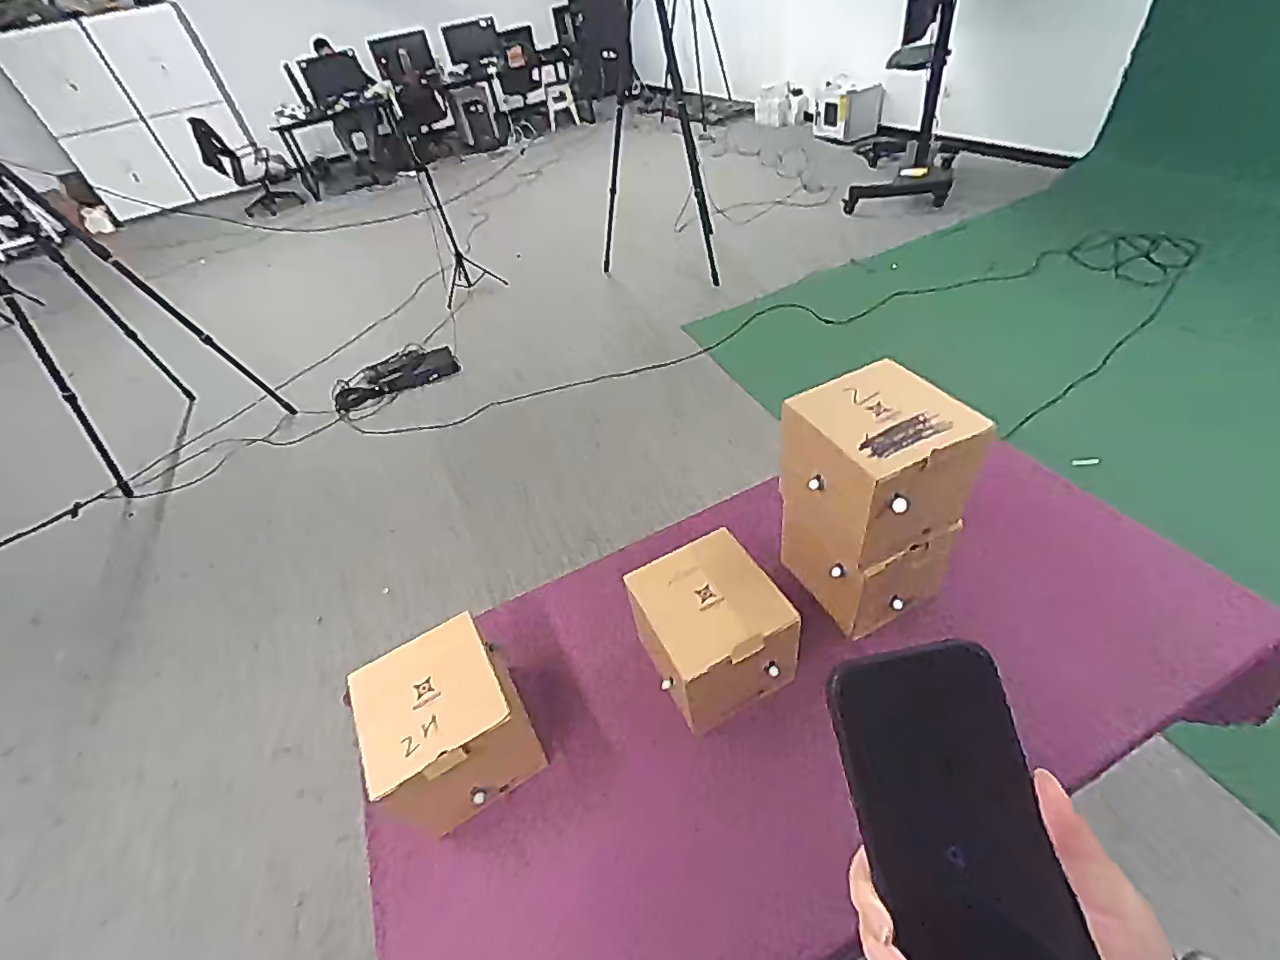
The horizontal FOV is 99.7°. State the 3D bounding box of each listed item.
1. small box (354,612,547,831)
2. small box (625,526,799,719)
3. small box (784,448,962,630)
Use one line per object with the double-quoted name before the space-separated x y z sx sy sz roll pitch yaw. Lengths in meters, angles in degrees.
"small box" -0.244 0.316 0.711 0.168 0.176 0.179 -28 46 -15
"small box" 0.100 0.203 0.750 0.168 0.176 0.179 -25 45 -13
"small box" 0.331 0.088 0.811 0.168 0.176 0.179 -25 46 -12
